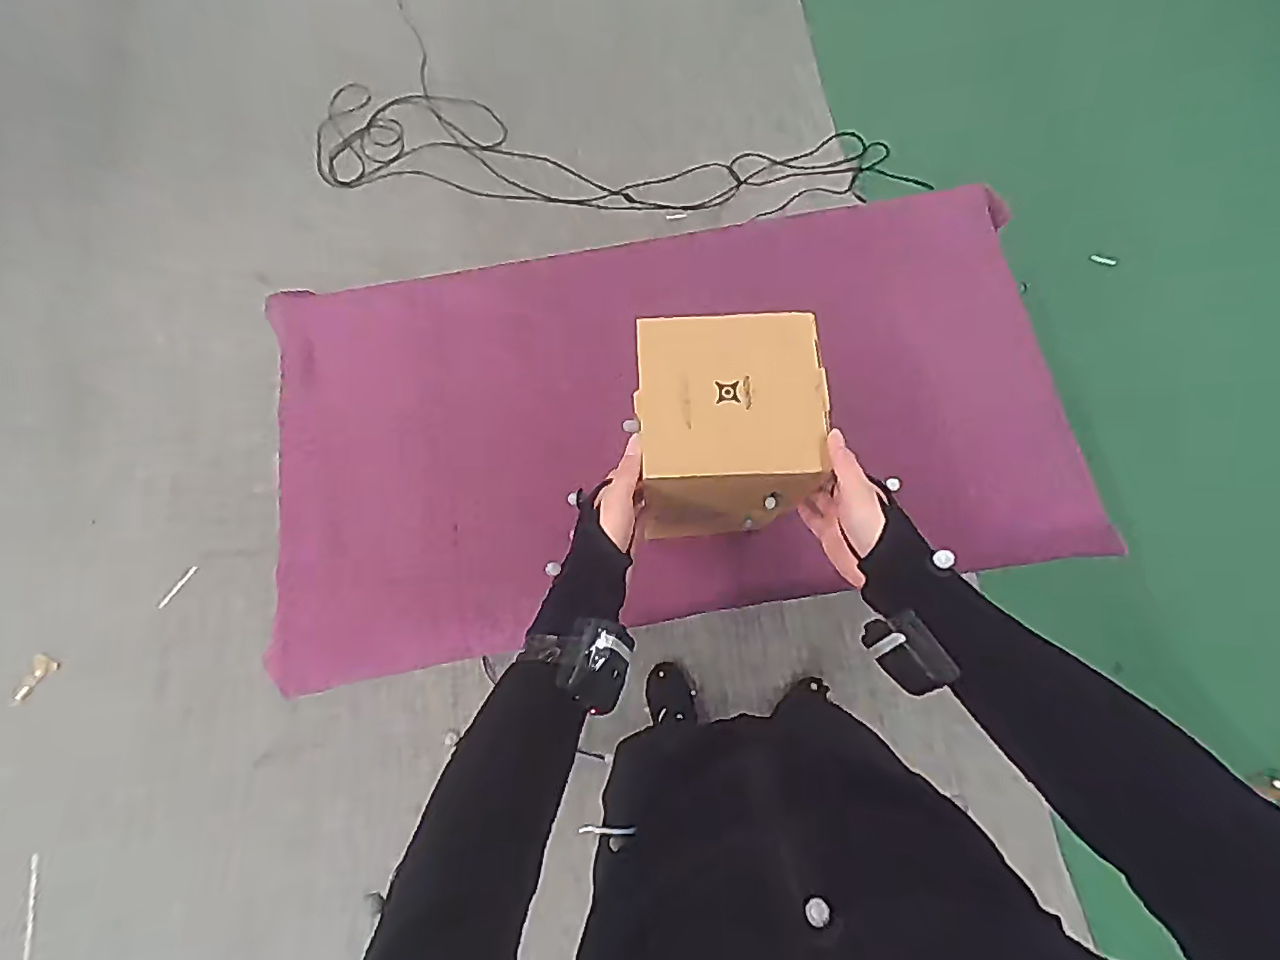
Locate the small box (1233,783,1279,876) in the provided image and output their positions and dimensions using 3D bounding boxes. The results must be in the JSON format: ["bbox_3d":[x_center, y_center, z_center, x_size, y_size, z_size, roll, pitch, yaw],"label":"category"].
[{"bbox_3d":[1.523,0.806,1.211,0.168,0.176,0.179,-12,75,-1],"label":"small box"}]
